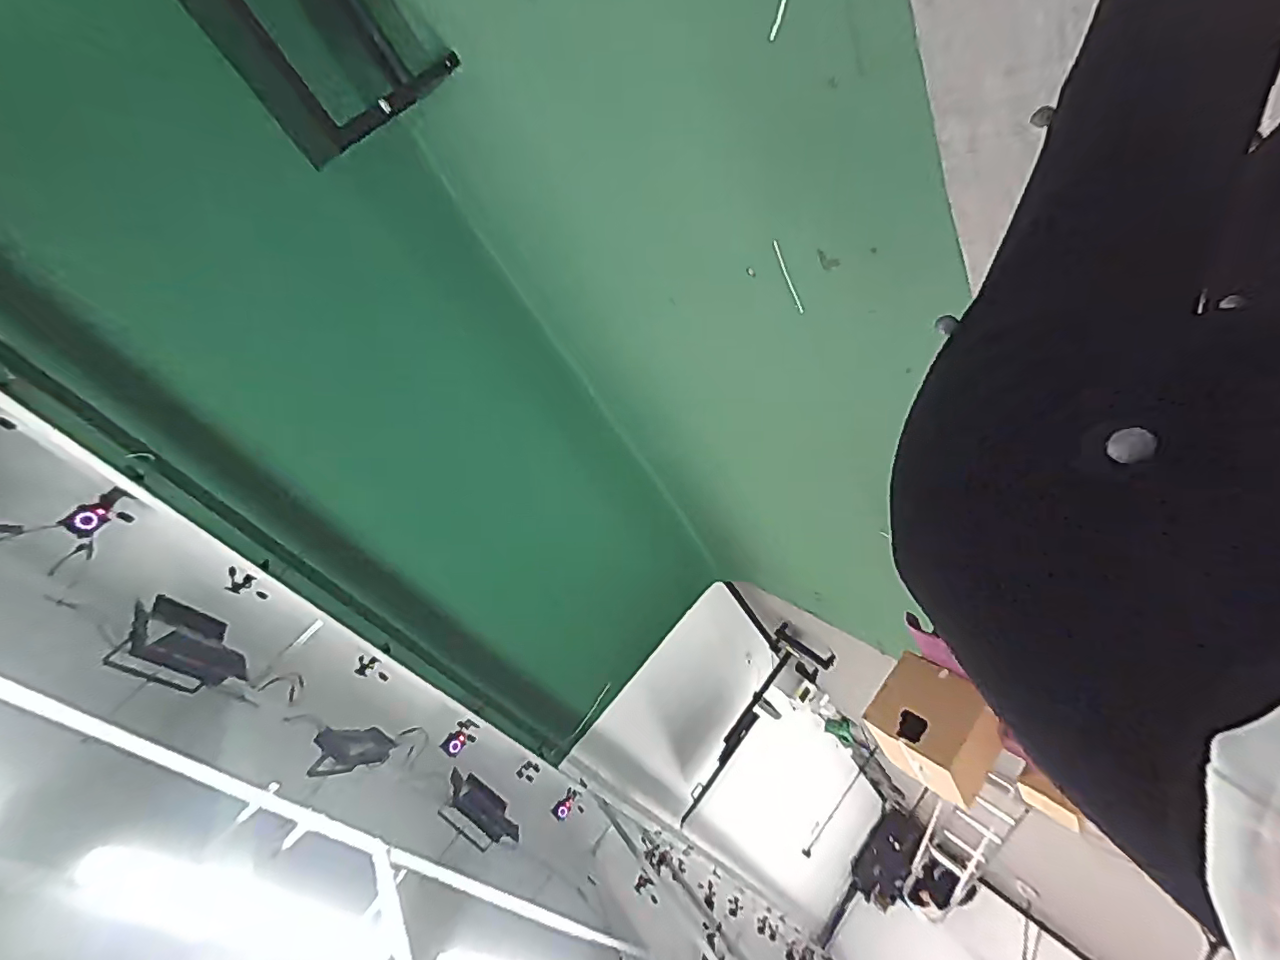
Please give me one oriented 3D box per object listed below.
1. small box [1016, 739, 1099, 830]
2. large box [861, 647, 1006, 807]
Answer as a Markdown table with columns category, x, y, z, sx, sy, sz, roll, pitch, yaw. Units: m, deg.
| category | x | y | z | sx | sy | sz | roll | pitch | yaw |
| --- | --- | --- | --- | --- | --- | --- | --- | --- | --- |
| small box | 1.376 | 0.995 | 1.777 | 0.168 | 0.176 | 0.179 | 20 | 152 | 52 |
| large box | 1.079 | 0.891 | 1.975 | 0.320 | 0.320 | 0.408 | 19 | 151 | 52 |
